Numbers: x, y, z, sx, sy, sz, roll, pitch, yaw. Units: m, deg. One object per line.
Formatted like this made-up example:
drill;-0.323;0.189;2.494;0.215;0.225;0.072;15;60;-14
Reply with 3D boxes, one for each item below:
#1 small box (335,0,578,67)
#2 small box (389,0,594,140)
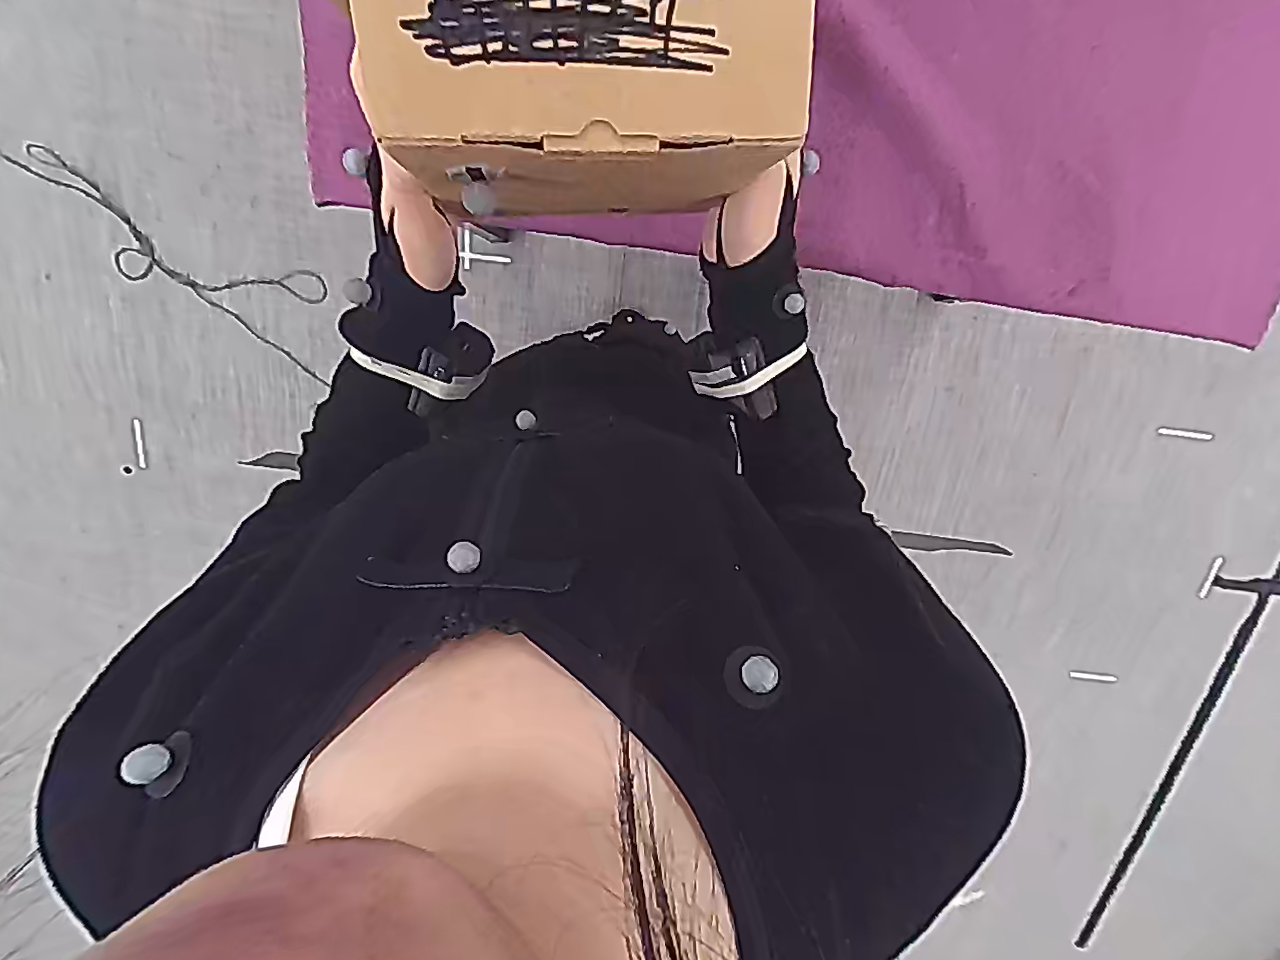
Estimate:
small box;-0.133;-0.420;0.375;0.179;0.176;0.168;3;105;-1
small box;-0.134;-0.465;0.530;0.168;0.176;0.179;4;107;-2
